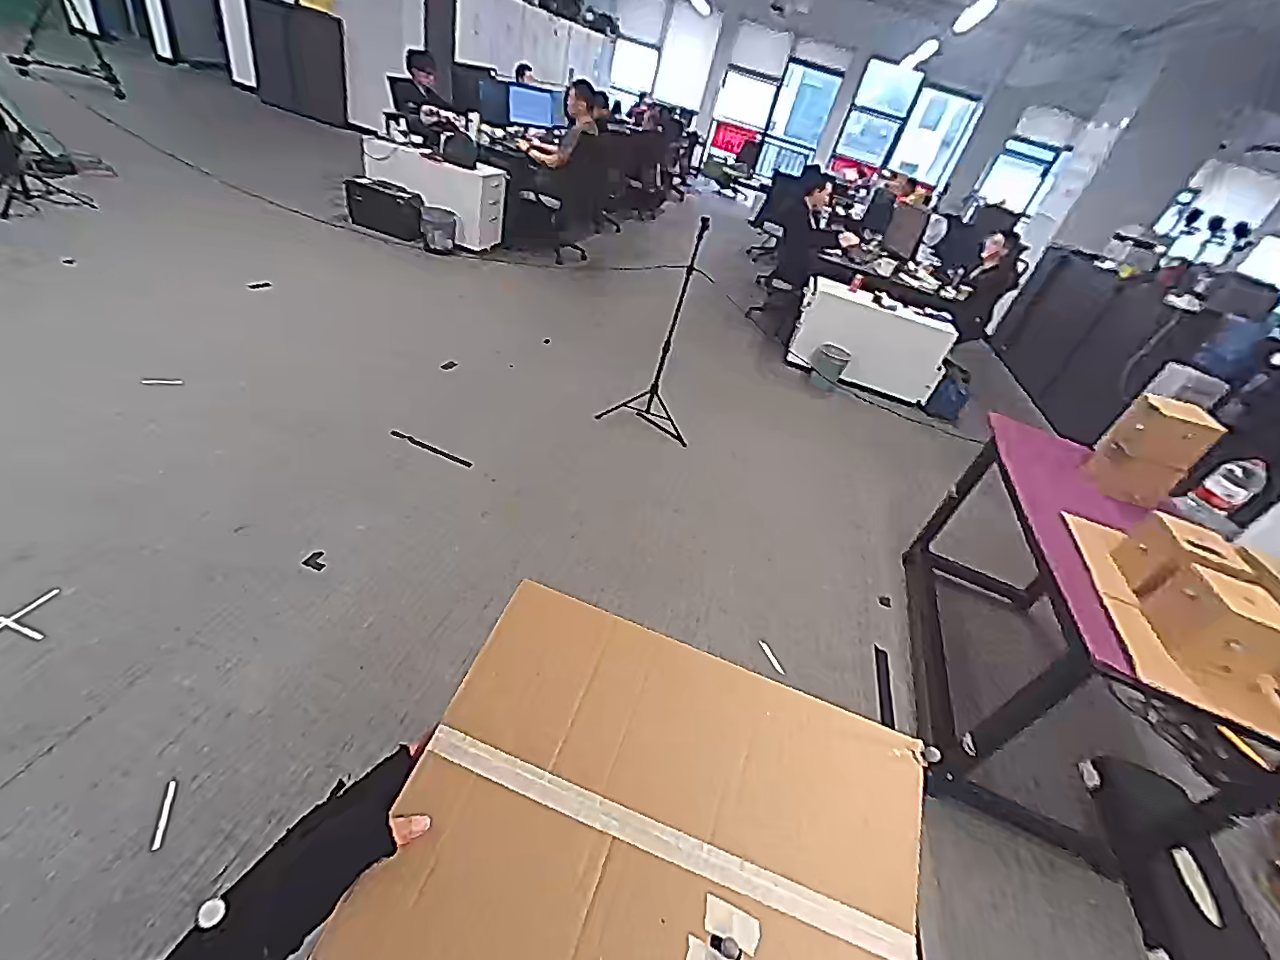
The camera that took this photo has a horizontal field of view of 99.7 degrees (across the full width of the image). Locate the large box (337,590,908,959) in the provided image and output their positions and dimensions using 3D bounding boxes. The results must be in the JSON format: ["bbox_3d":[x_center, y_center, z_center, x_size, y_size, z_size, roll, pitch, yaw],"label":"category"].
[{"bbox_3d":[-0.001,0.376,0.564,0.408,0.320,0.320,21,55,6],"label":"large box"}]
